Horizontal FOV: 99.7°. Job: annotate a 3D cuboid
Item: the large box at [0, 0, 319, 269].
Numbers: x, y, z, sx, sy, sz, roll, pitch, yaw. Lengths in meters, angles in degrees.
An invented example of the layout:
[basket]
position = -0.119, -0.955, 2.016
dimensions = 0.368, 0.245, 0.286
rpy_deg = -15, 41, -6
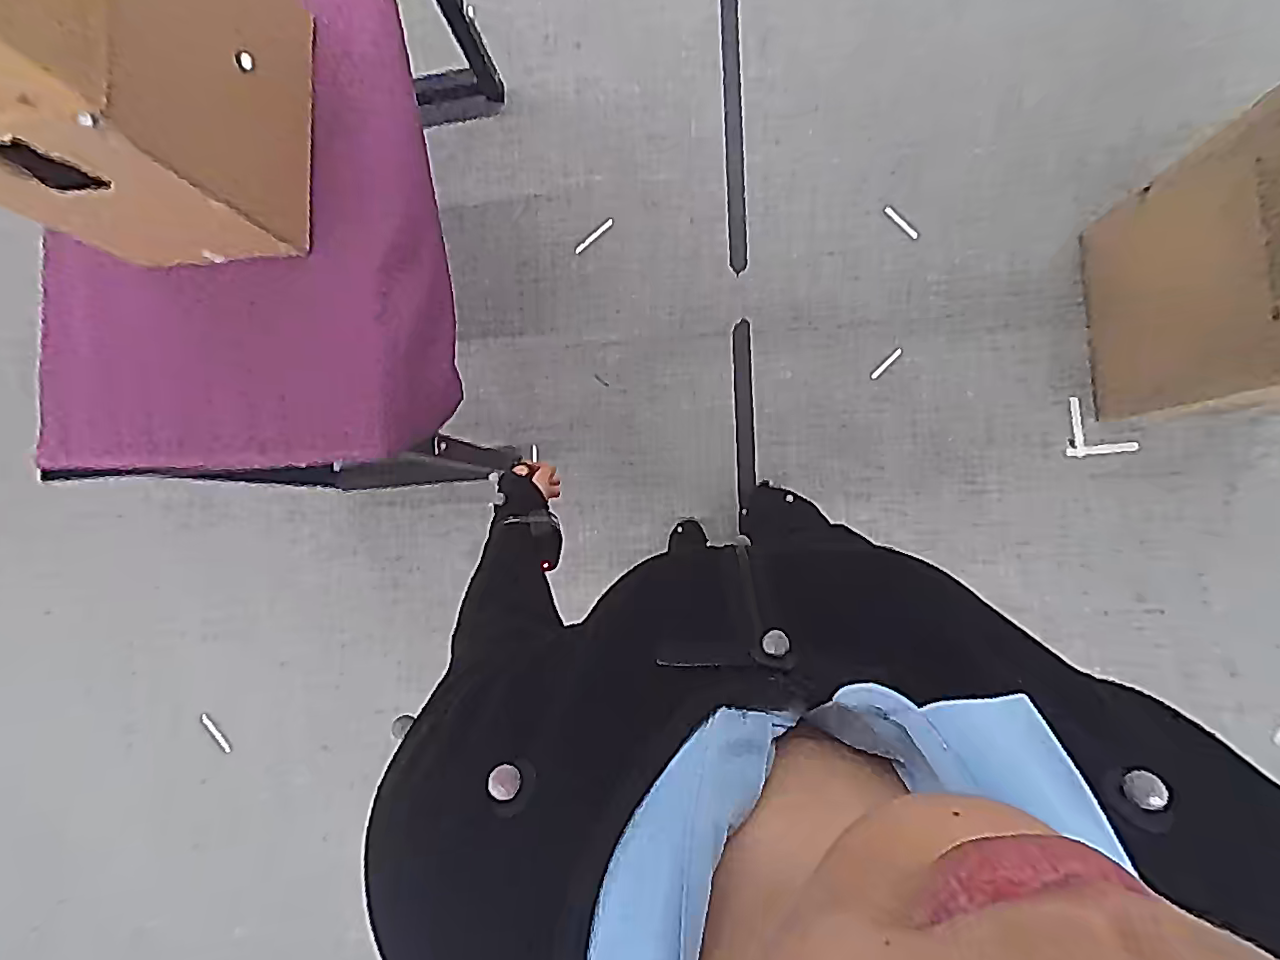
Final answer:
[large box]
position = -0.690, -0.559, 0.746
dimensions = 0.320, 0.320, 0.408
rpy_deg = -2, 88, 8
